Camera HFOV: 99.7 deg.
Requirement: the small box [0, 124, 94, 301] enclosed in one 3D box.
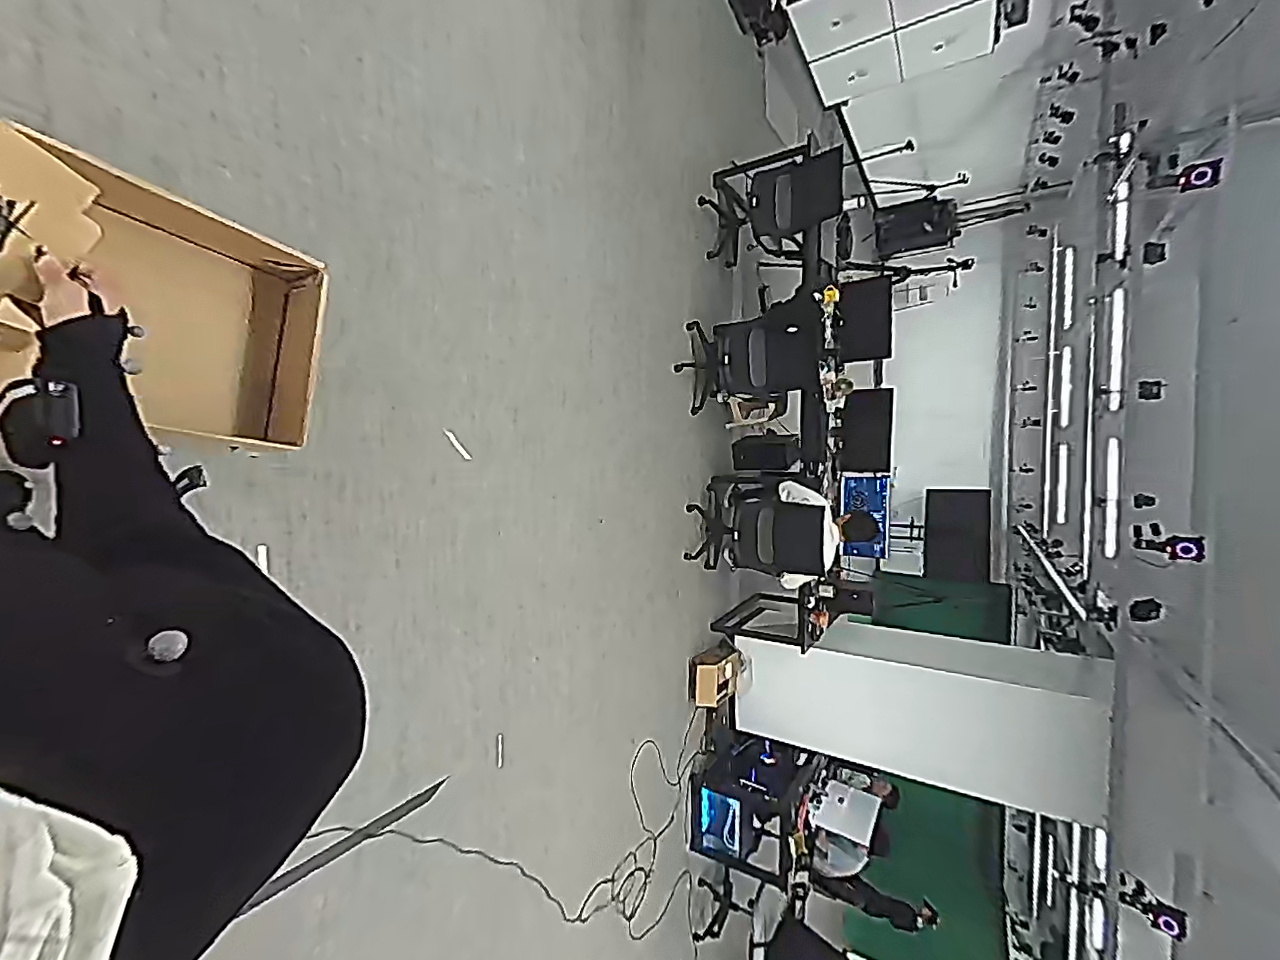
[{"bbox_3d":[-0.685,-0.278,0.498,0.168,0.176,0.179,-66,149,-16],"label":"small box"}]
